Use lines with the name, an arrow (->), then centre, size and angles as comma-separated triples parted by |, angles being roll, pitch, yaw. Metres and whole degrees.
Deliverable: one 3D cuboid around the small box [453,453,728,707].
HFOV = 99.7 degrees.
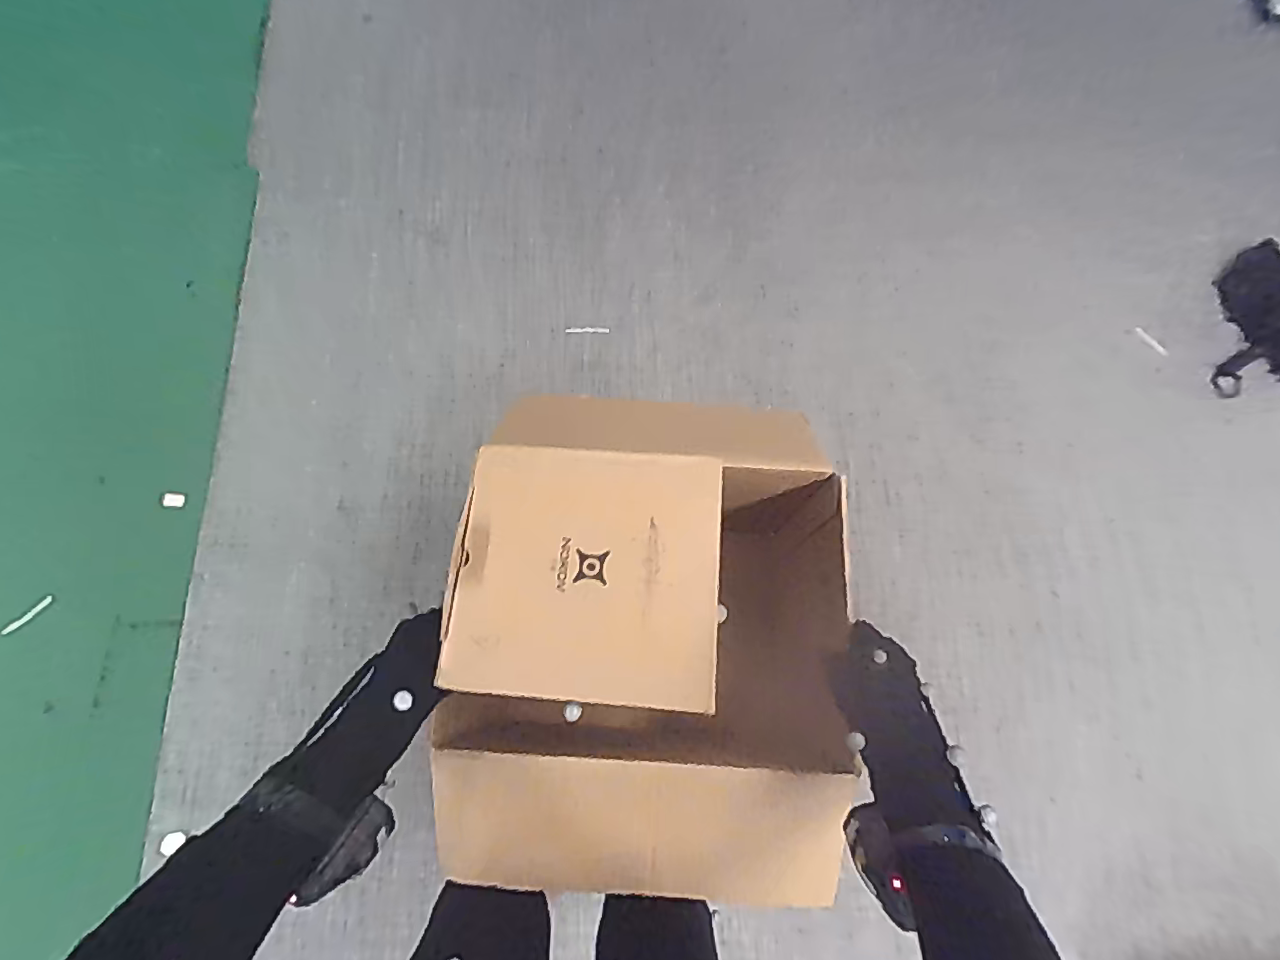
small box -> -0.026, 0.086, 0.440 | 0.179, 0.176, 0.168 | 3, 72, 2
